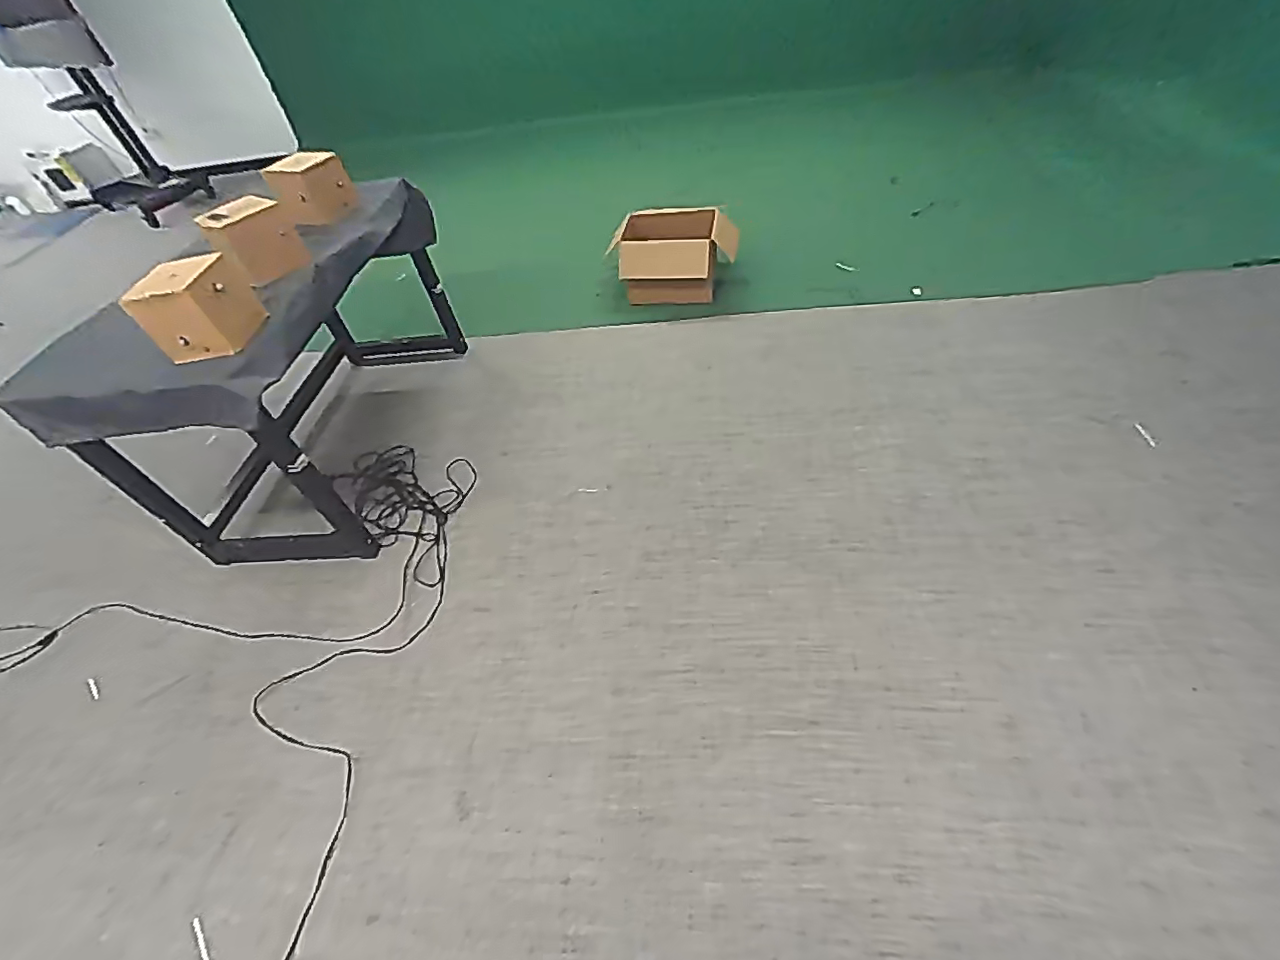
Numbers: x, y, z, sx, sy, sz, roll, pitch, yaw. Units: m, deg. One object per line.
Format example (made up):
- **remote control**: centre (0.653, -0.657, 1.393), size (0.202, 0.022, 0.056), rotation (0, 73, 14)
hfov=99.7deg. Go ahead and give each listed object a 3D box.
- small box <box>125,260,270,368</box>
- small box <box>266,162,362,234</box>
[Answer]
- **small box**: centre (-1.026, -0.390, 1.278), size (0.168, 0.176, 0.179), rotation (-8, 47, 6)
- **small box**: centre (-1.068, -0.932, 1.790), size (0.179, 0.176, 0.168), rotation (10, 49, 20)
